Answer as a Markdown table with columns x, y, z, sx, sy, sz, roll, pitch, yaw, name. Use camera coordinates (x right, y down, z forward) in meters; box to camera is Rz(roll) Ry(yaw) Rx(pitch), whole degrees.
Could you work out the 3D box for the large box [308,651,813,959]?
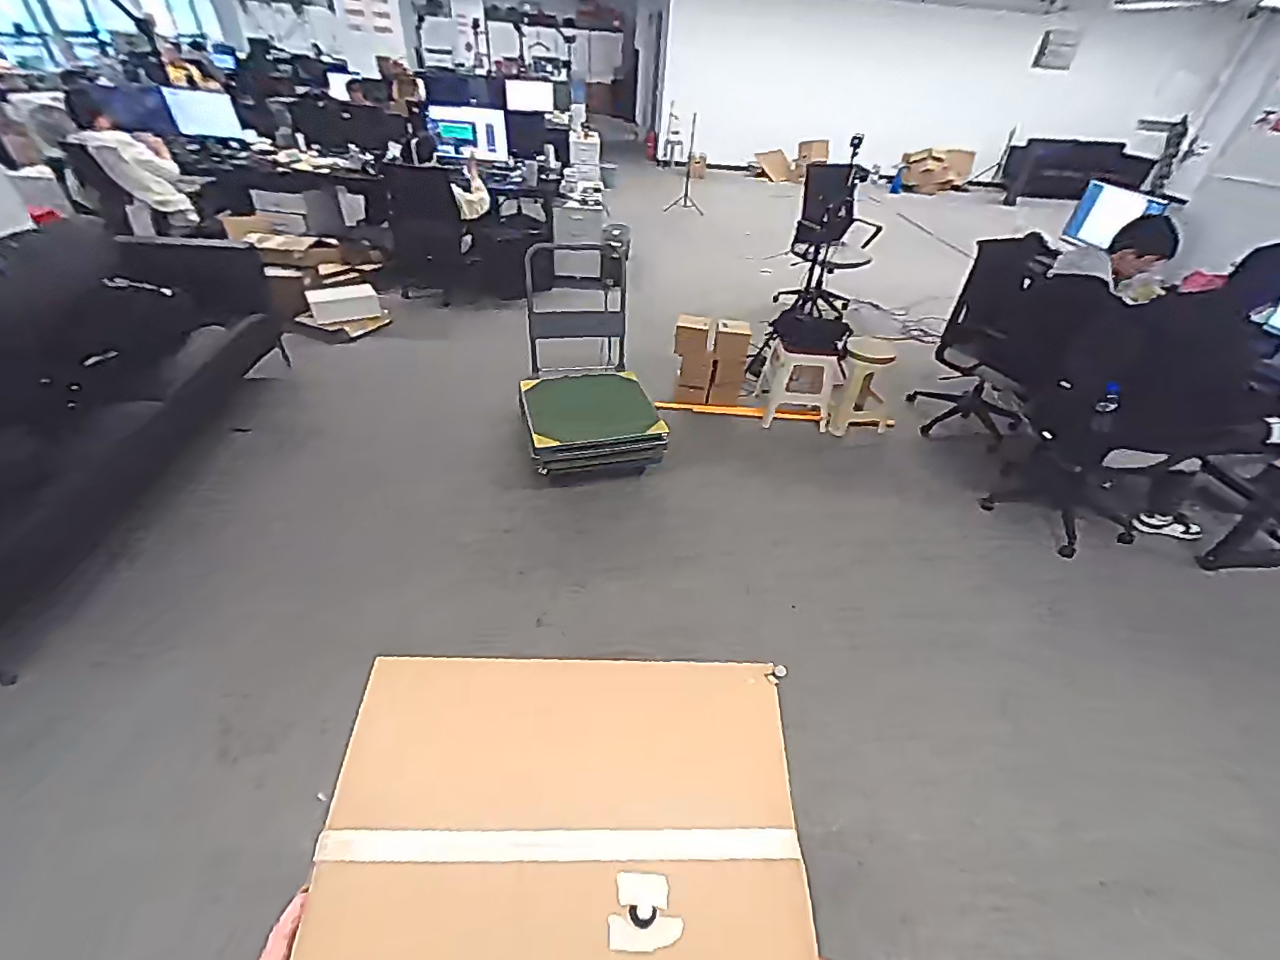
| x | y | z | sx | sy | sz | roll | pitch | yaw | name |
| --- | --- | --- | --- | --- | --- | --- | --- | --- | --- |
| -0.070 | 0.393 | 0.597 | 0.408 | 0.320 | 0.320 | 2 | 55 | -3 | large box |
